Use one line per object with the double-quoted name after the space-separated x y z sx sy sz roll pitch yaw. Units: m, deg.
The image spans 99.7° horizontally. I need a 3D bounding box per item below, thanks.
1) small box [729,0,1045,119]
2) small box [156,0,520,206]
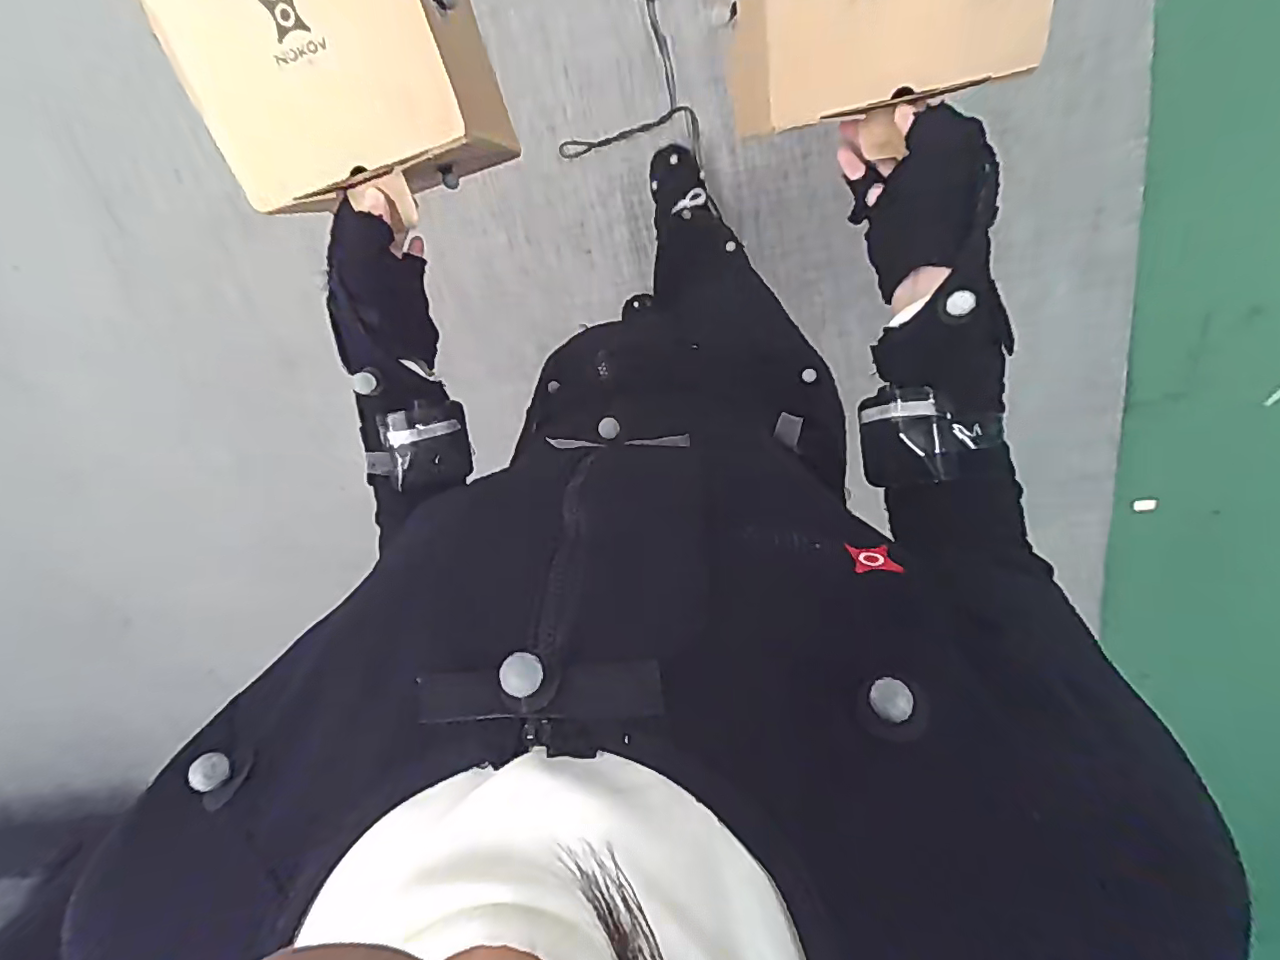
0.153 -0.364 0.370 0.168 0.176 0.179 -9 121 6 "small box"
-0.207 -0.323 0.403 0.168 0.176 0.179 -15 115 8 "small box"
